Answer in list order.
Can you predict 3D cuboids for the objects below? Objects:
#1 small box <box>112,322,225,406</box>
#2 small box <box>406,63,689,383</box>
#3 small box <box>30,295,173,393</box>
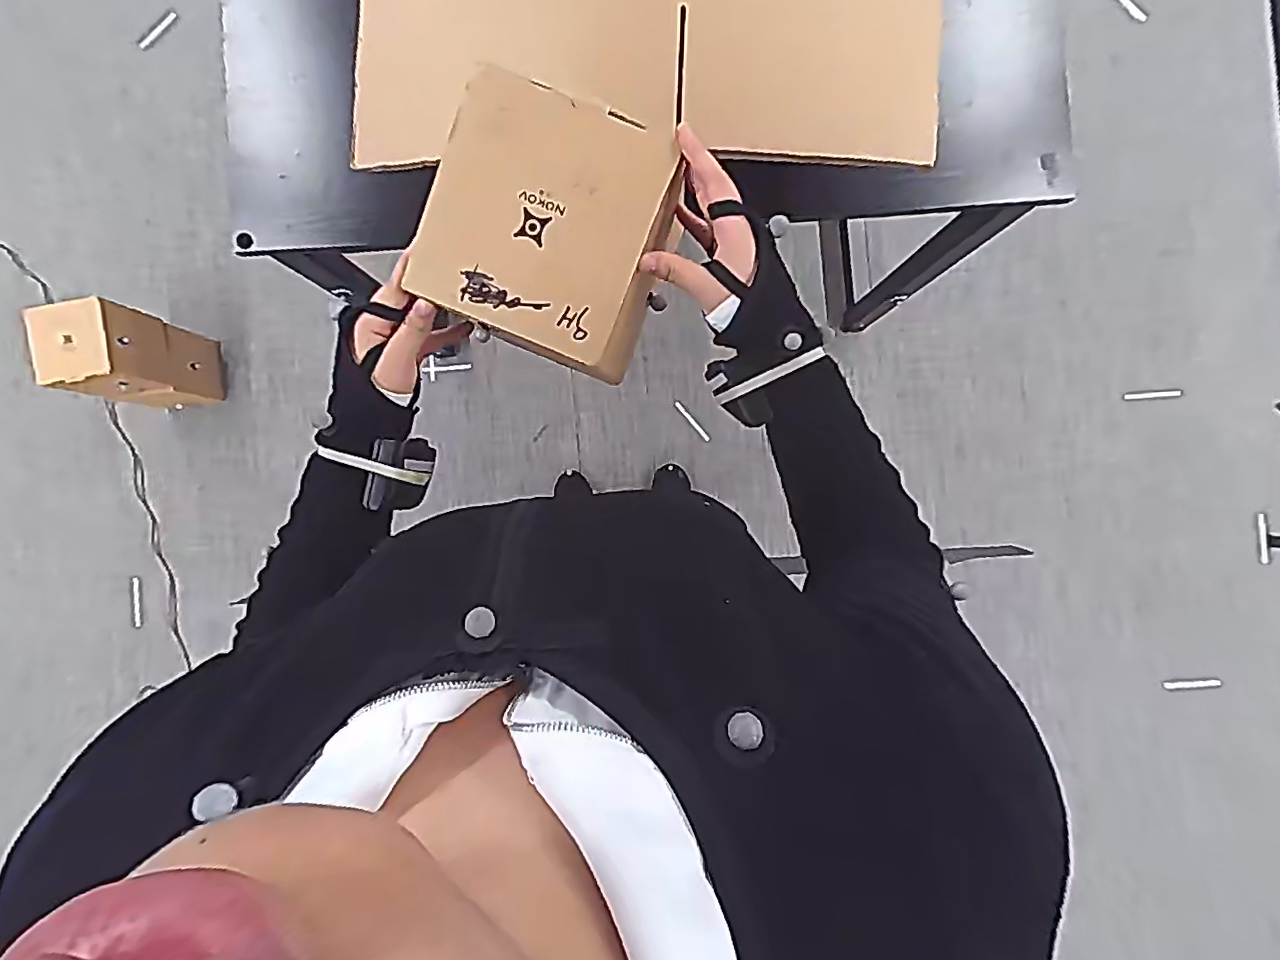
[{"bbox_3d":[-1.247,-0.302,1.432,0.168,0.176,0.179,-7,90,0],"label":"small box"},{"bbox_3d":[-0.068,-0.203,0.482,0.168,0.176,0.179,23,95,2],"label":"small box"},{"bbox_3d":[-1.250,-0.309,1.269,0.168,0.176,0.179,-10,88,-1],"label":"small box"}]
